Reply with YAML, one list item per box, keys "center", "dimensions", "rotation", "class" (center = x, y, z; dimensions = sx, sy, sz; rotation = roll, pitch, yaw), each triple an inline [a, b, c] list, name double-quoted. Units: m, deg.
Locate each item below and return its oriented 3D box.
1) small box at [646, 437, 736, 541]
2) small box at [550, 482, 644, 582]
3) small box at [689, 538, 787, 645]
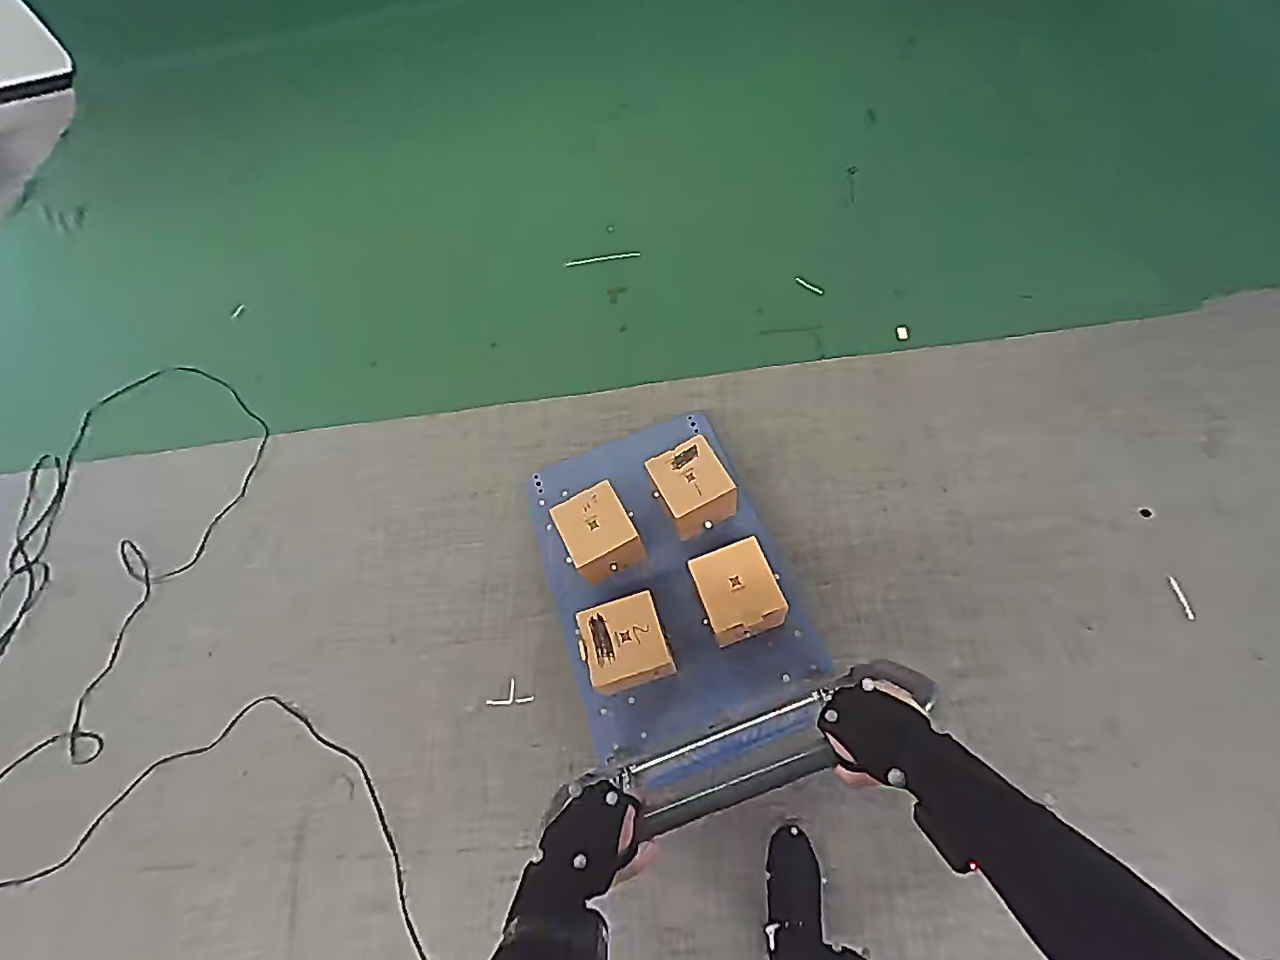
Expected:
- center: [0.131, 0.027, 1.388]
  dimensions: [0.168, 0.176, 0.179]
  rotation: [-27, 64, -4]
  class: "small box"
- center: [-0.102, 0.142, 1.368]
  dimensions: [0.168, 0.176, 0.179]
  rotation: [-27, 63, -6]
  class: "small box"
- center: [0.222, 0.264, 1.257]
  dimensions: [0.168, 0.176, 0.179]
  rotation: [-21, 63, -1]
  class: "small box"
